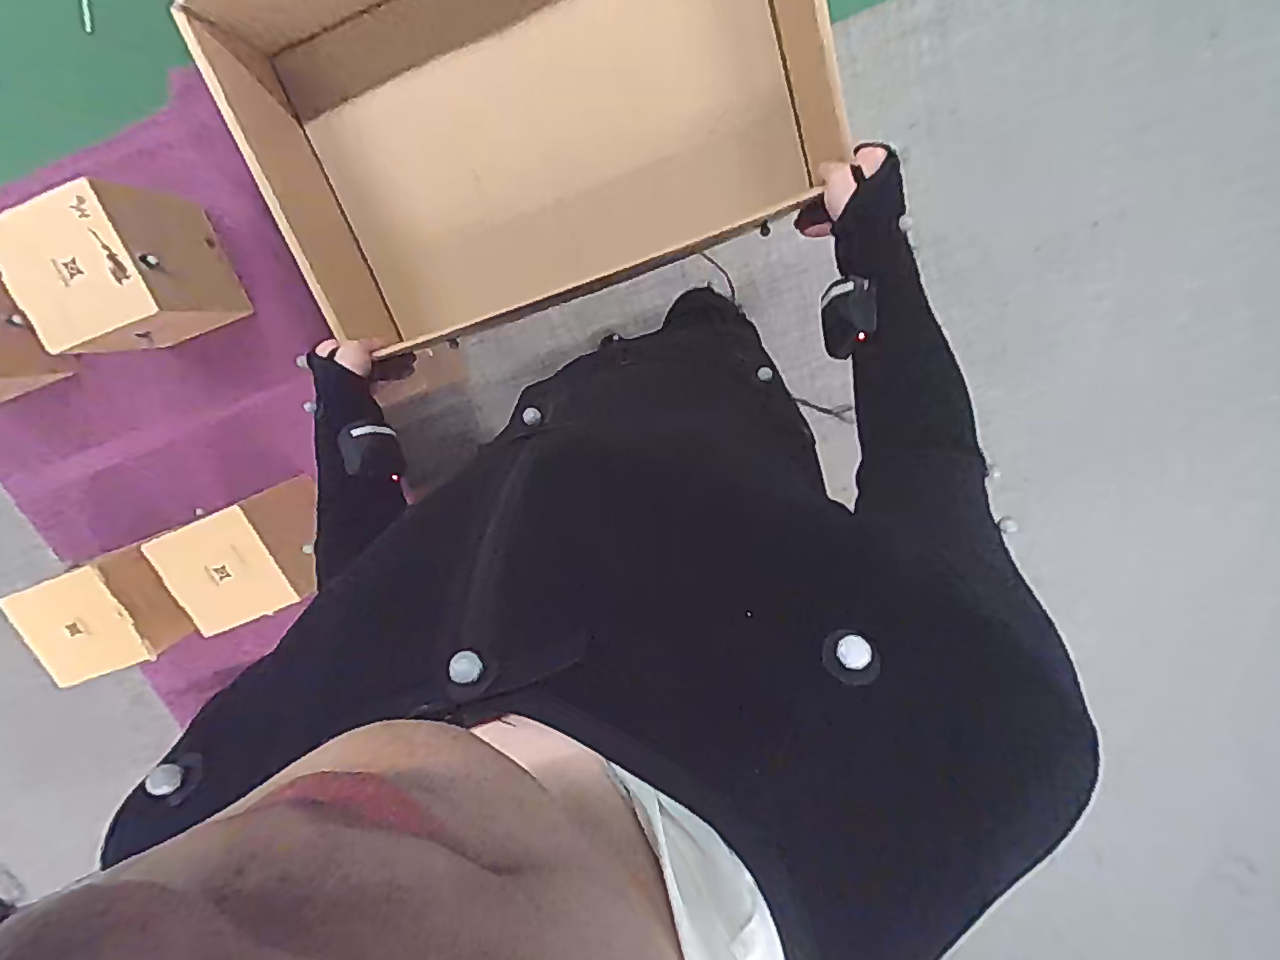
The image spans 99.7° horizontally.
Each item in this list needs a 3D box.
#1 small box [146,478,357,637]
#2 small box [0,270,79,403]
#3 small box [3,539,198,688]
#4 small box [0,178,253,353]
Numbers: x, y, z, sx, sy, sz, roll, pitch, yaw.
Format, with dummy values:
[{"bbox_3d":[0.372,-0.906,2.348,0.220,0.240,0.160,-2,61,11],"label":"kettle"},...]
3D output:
[{"bbox_3d":[-0.600,0.115,0.860,0.179,0.176,0.168,-21,104,7],"label":"small box"},{"bbox_3d":[-1.003,-0.199,0.782,0.179,0.176,0.168,-18,106,5],"label":"small box"},{"bbox_3d":[-0.843,0.204,0.892,0.179,0.176,0.168,-20,103,6],"label":"small box"},{"bbox_3d":[-0.701,-0.285,0.751,0.179,0.176,0.168,-17,105,9],"label":"small box"}]
